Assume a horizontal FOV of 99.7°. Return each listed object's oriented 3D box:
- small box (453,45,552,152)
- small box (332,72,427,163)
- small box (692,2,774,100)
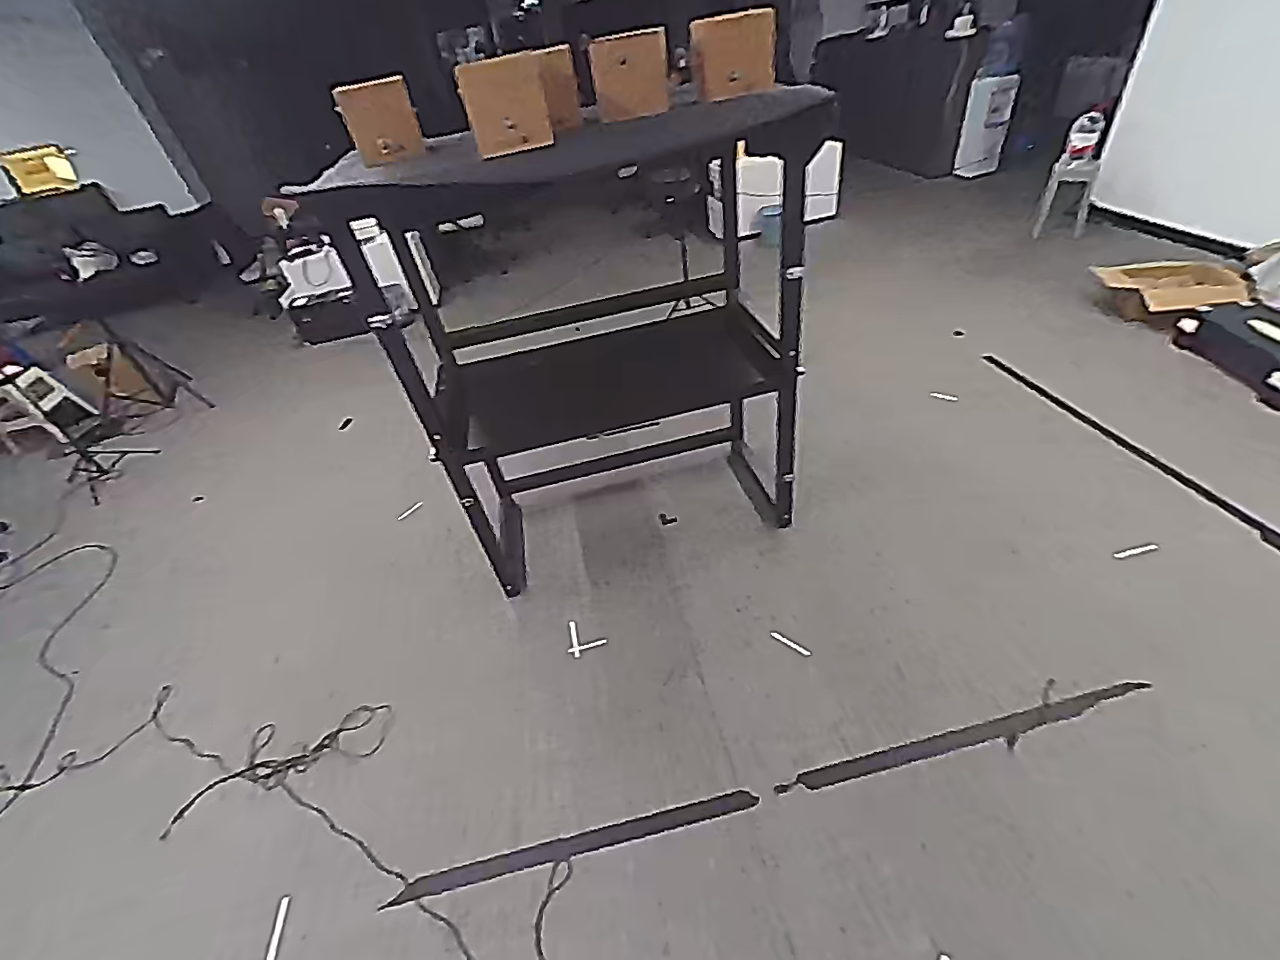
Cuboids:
[{"bbox_3d":[-0.298,-0.848,1.209,0.168,0.176,0.179,-13,39,0],"label":"small box"},{"bbox_3d":[-0.672,-0.942,1.408,0.168,0.176,0.179,-21,42,-10],"label":"small box"},{"bbox_3d":[0.229,-1.064,1.346,0.168,0.176,0.179,-11,41,1],"label":"small box"}]
